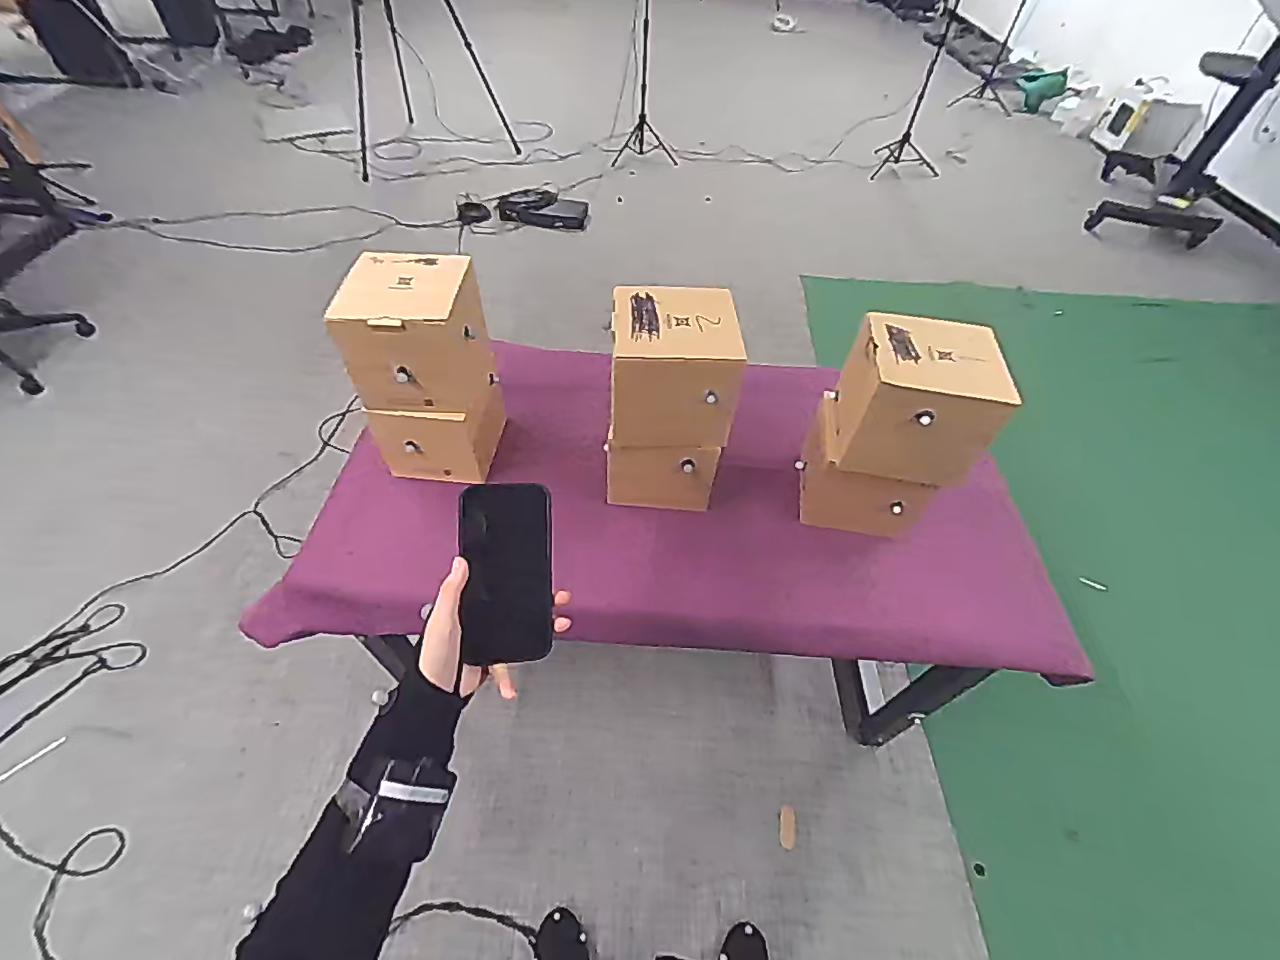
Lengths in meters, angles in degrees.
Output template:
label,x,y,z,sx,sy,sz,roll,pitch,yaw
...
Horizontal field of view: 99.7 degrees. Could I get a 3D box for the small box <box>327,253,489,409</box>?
label,x,y,z,sx,sy,sz,roll,pitch,yaw
small box,-0.338,-0.225,0.831,0.168,0.176,0.179,1,51,-2

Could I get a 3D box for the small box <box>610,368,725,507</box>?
label,x,y,z,sx,sy,sz,roll,pitch,yaw
small box,0.045,-0.068,0.928,0.179,0.176,0.168,4,50,2

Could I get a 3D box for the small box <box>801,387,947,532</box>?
label,x,y,z,sx,sy,sz,roll,pitch,yaw
small box,0.382,-0.030,0.912,0.179,0.176,0.168,9,50,6

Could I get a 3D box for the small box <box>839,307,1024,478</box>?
label,x,y,z,sx,sy,sz,roll,pitch,yaw
small box,0.395,-0.122,0.776,0.179,0.176,0.168,9,50,5

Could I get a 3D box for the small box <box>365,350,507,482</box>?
label,x,y,z,sx,sy,sz,roll,pitch,yaw
small box,-0.343,-0.114,0.952,0.168,0.176,0.179,5,50,2
